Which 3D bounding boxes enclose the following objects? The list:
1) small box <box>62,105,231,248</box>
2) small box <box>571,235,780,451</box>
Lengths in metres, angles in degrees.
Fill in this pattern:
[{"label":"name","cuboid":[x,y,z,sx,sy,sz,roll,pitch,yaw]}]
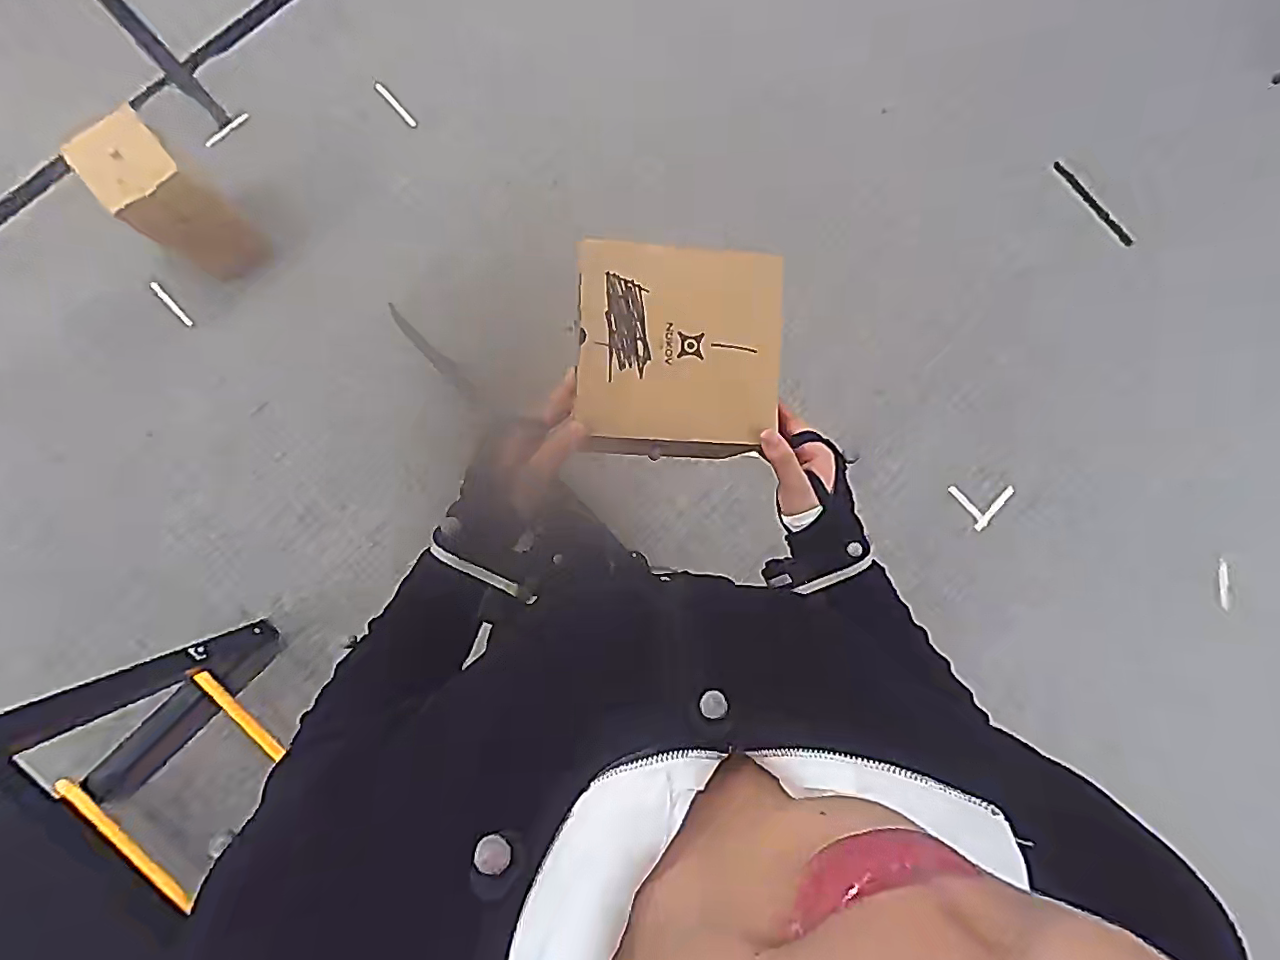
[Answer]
[{"label":"small box","cuboid":[-1.065,-0.653,1.184,0.168,0.176,0.179,-39,92,-6]},{"label":"small box","cuboid":[0.023,-0.117,0.533,0.179,0.176,0.168,2,89,-8]}]
